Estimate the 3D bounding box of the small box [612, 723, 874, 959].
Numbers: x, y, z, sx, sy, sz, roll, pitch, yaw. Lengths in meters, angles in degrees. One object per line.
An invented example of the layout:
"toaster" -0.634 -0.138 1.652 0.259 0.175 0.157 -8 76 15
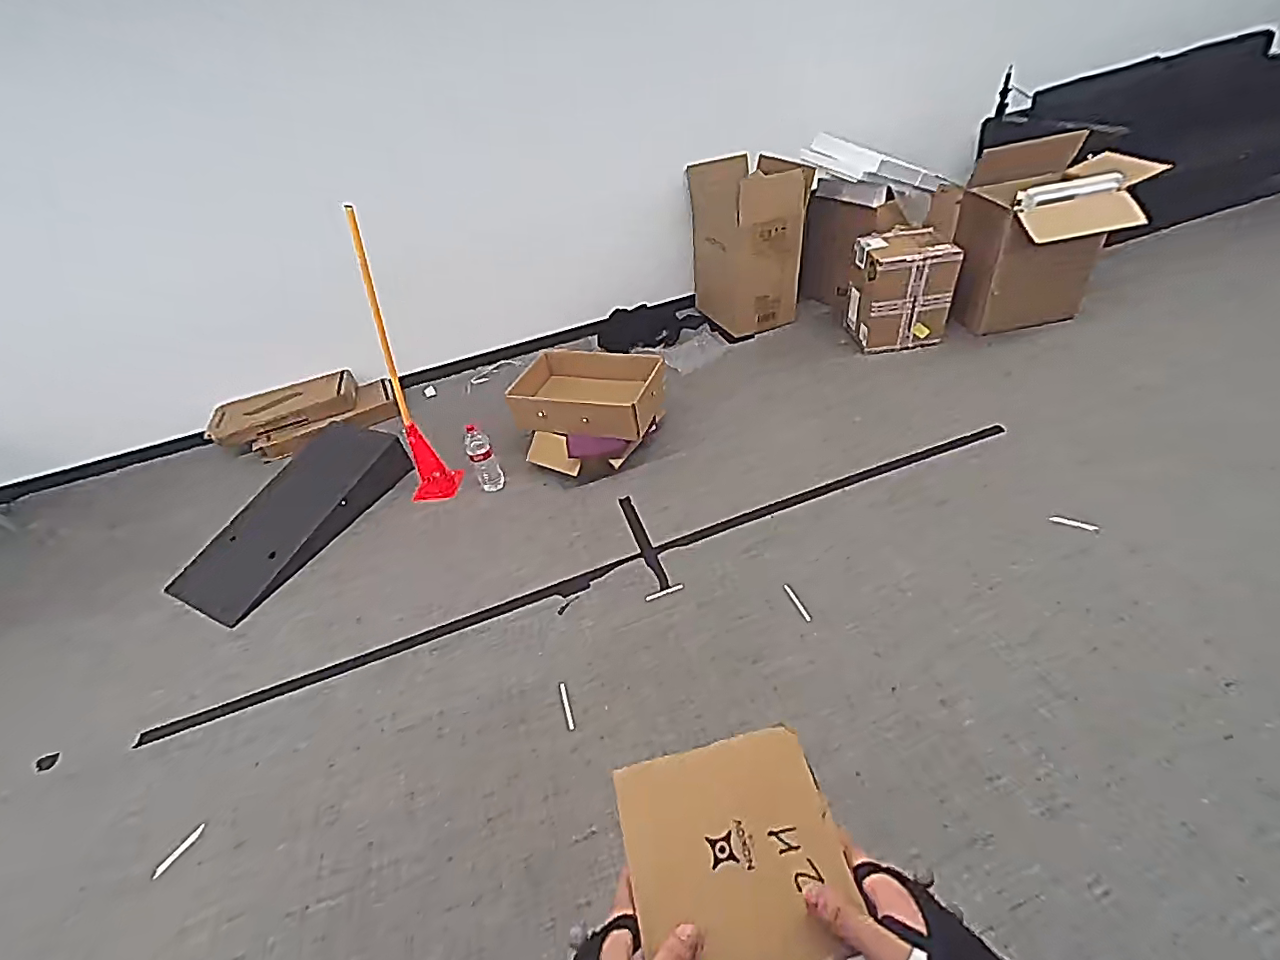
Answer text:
"small box" 0.083 0.356 0.503 0.179 0.176 0.168 -13 48 -4
